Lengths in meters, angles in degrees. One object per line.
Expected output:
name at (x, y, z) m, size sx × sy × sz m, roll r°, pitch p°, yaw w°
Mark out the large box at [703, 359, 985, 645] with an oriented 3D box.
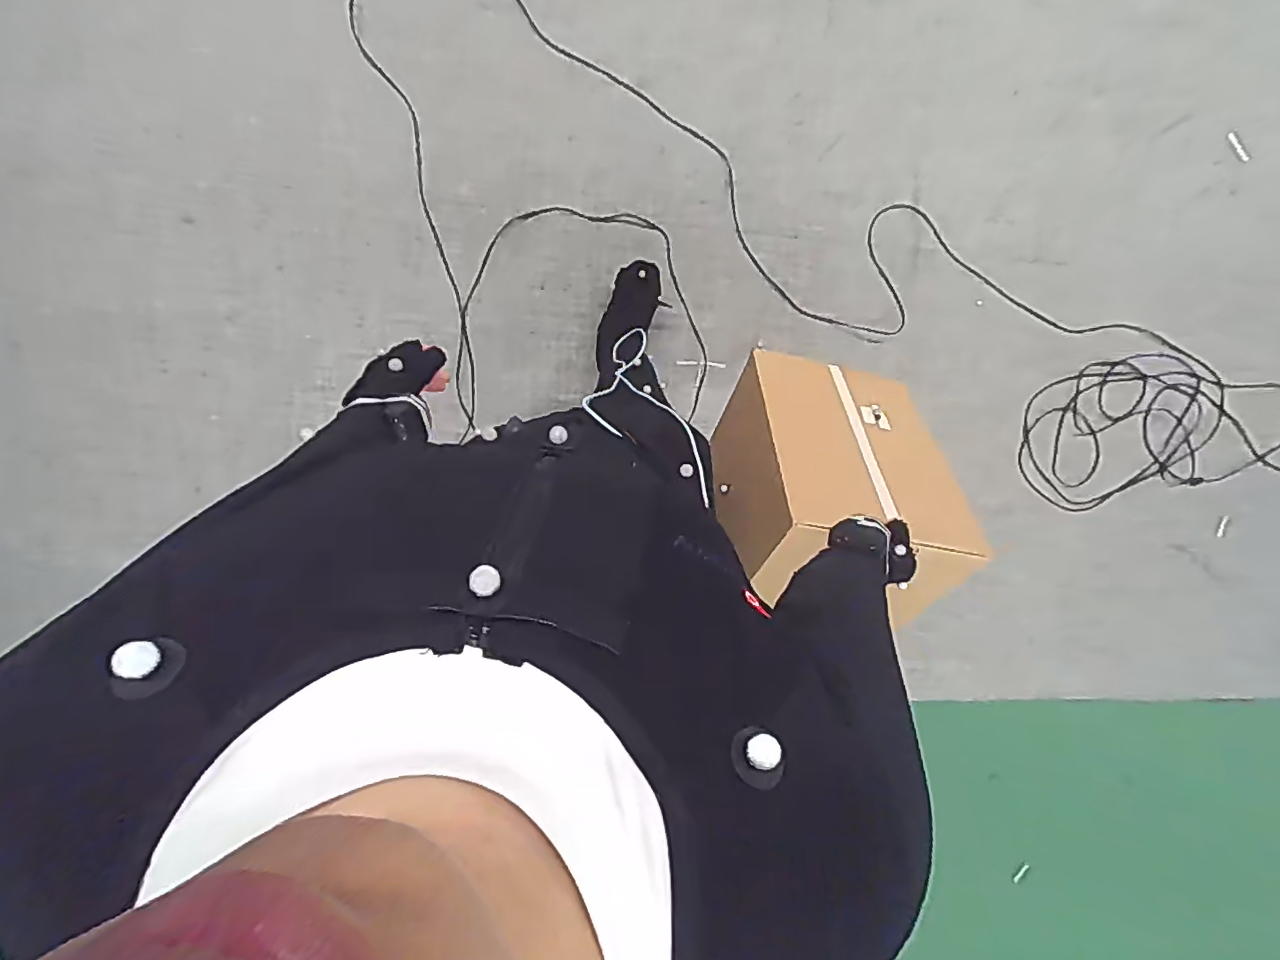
large box at (0.319, 0.043, 0.995) m, size 0.320 × 0.408 × 0.320 m, roll 11°, pitch 136°, yaw -10°
